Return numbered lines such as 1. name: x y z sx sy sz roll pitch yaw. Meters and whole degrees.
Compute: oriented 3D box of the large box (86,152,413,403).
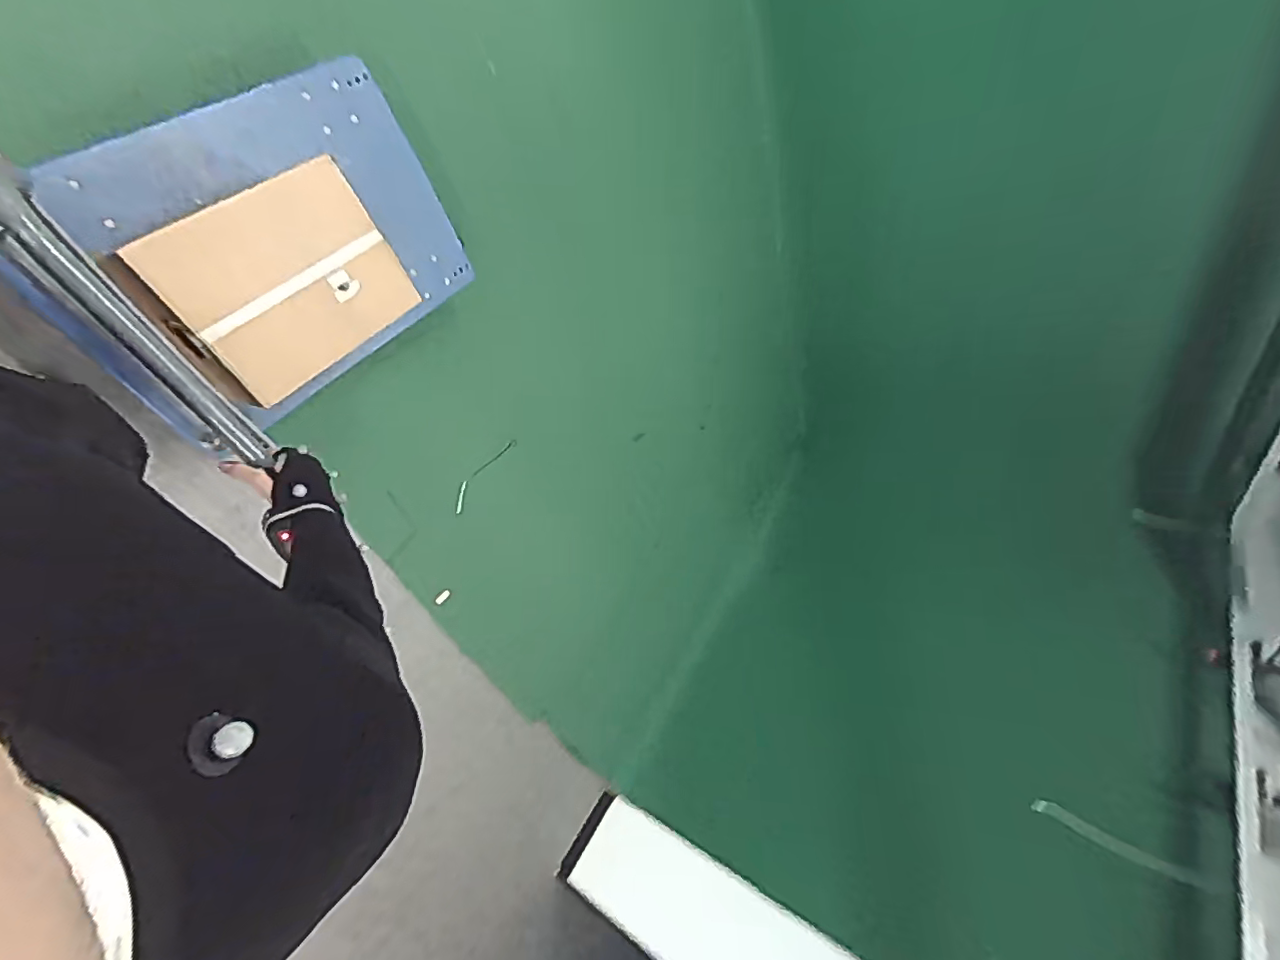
1. large box: -0.780 -0.407 1.118 0.408 0.320 0.320 -52 137 -31
